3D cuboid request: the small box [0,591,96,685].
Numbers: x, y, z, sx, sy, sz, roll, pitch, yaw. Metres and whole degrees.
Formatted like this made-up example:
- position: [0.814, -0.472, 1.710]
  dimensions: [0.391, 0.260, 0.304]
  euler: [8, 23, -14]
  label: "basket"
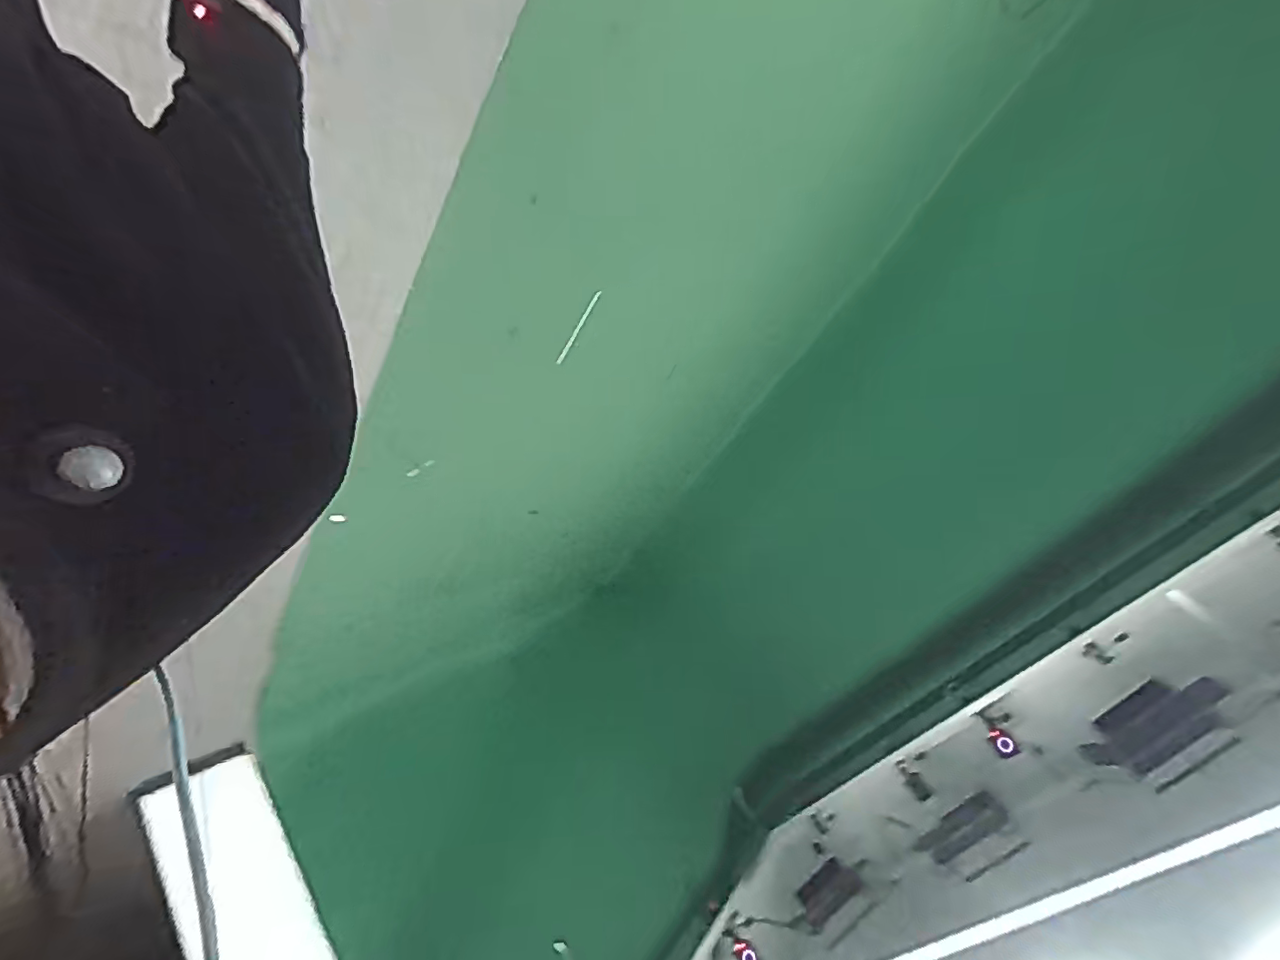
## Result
- position: [-1.742, 0.456, 1.583]
  dimensions: [0.179, 0.176, 0.168]
  euler: [-15, 146, -54]
  label: "small box"
